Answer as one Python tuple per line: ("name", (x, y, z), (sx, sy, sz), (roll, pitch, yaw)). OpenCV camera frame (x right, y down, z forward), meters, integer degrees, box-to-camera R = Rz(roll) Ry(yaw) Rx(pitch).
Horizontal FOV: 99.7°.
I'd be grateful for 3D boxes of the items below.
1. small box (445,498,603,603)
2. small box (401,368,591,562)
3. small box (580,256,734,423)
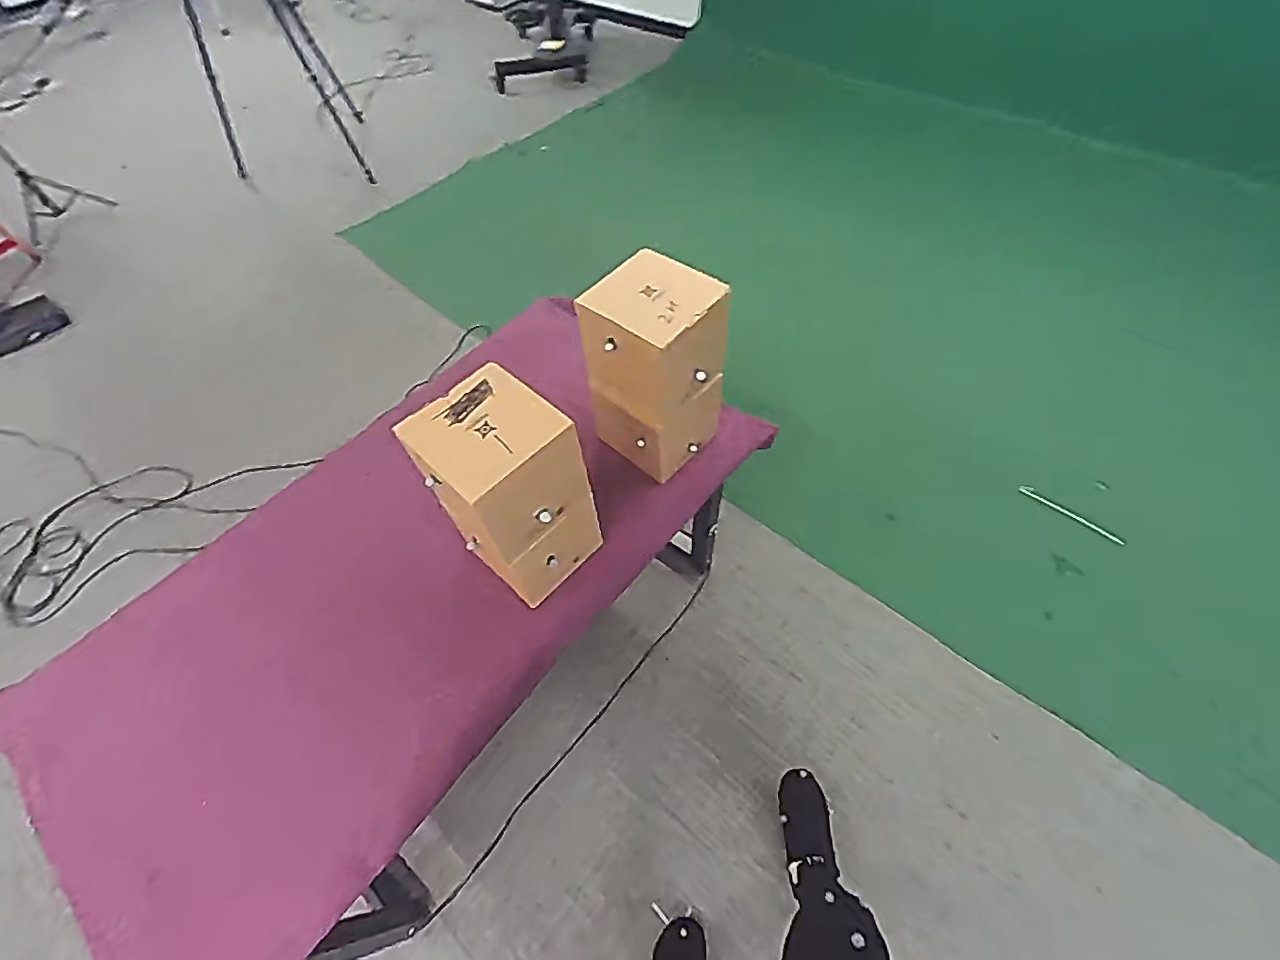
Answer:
("small box", (-0.179, 0.079, 0.889), (0.179, 0.176, 0.168), (36, 65, 26))
("small box", (-0.190, -0.016, 0.756), (0.179, 0.176, 0.168), (38, 66, 25))
("small box", (0.029, -0.223, 0.877), (0.179, 0.176, 0.168), (36, 66, 24))
